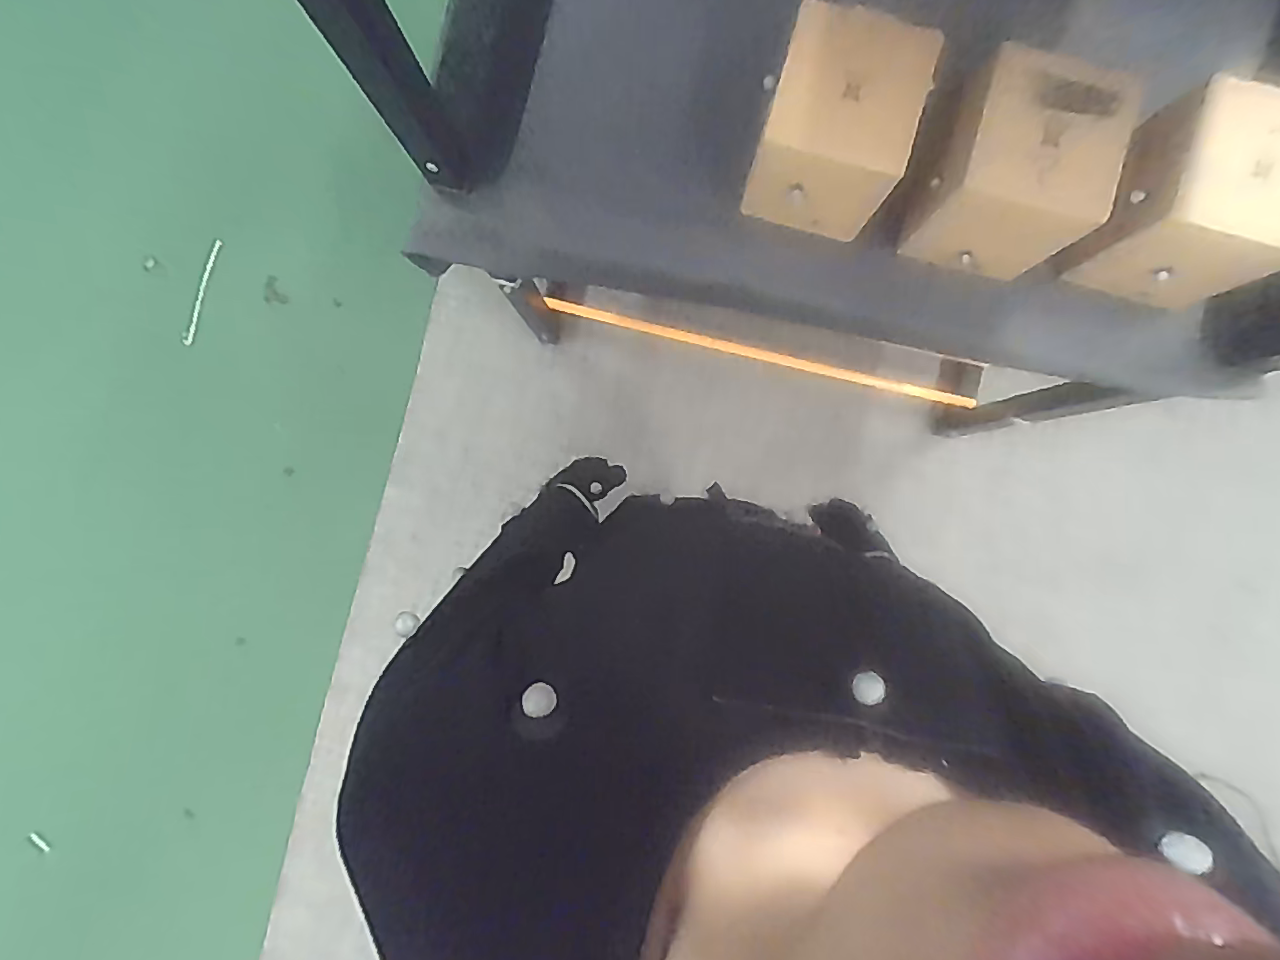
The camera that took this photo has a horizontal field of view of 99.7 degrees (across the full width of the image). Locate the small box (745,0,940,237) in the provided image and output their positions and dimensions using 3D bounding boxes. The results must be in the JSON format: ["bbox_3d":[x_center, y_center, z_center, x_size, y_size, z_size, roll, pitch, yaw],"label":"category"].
[{"bbox_3d":[0.241,-0.445,0.692,0.168,0.176,0.179,16,88,2],"label":"small box"}]

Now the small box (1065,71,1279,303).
[{"bbox_3d":[0.683,-0.346,0.674,0.168,0.176,0.179,17,88,2],"label":"small box"}]
